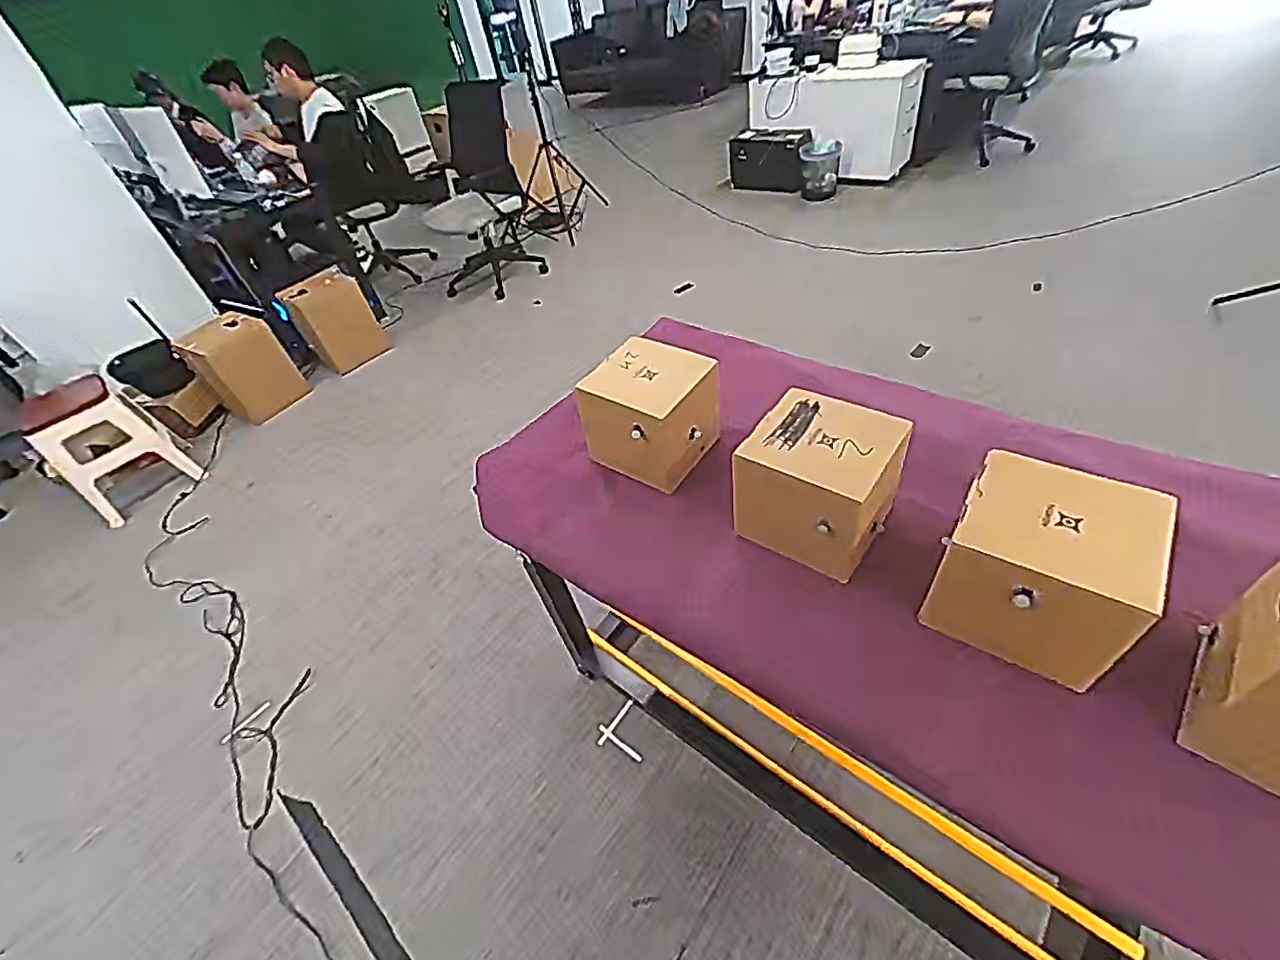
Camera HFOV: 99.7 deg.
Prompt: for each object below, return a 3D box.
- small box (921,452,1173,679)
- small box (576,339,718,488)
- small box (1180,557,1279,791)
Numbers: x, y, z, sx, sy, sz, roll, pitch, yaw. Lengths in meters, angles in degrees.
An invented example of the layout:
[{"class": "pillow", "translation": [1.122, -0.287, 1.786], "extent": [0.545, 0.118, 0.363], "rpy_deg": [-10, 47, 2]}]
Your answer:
[{"class": "small box", "translation": [0.455, 0.102, 0.626], "extent": [0.179, 0.176, 0.168], "rpy_deg": [22, 54, 31]}, {"class": "small box", "translation": [0.021, -0.110, 0.927], "extent": [0.179, 0.176, 0.168], "rpy_deg": [24, 54, 29]}, {"class": "small box", "translation": [0.645, 0.195, 0.483], "extent": [0.179, 0.176, 0.168], "rpy_deg": [28, 56, 34]}]
